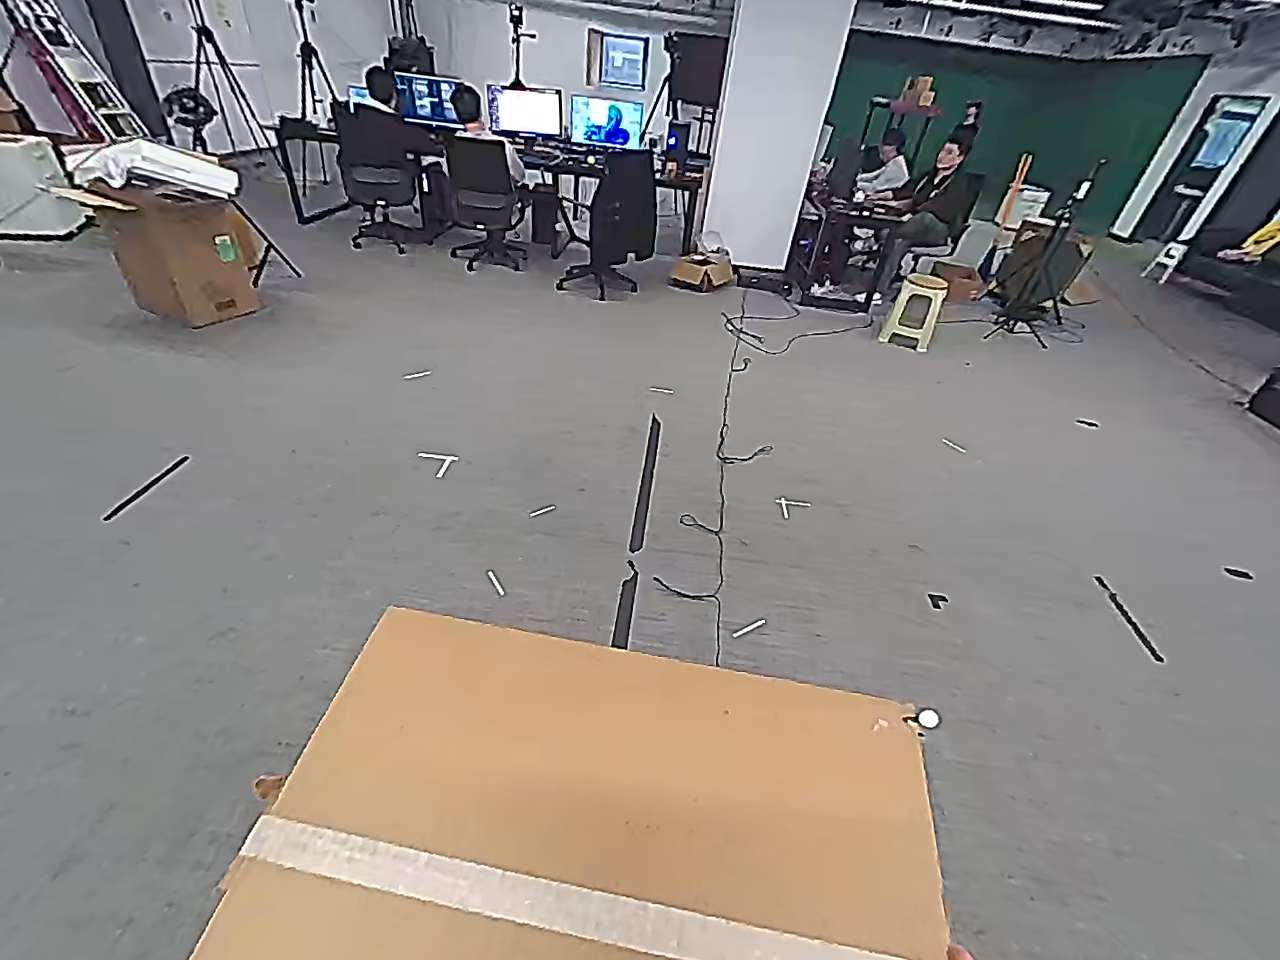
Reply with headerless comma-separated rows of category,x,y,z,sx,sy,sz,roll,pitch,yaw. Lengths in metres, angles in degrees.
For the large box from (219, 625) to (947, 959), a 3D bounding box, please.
large box,-0.032,0.352,0.421,0.408,0.320,0.320,9,48,5
